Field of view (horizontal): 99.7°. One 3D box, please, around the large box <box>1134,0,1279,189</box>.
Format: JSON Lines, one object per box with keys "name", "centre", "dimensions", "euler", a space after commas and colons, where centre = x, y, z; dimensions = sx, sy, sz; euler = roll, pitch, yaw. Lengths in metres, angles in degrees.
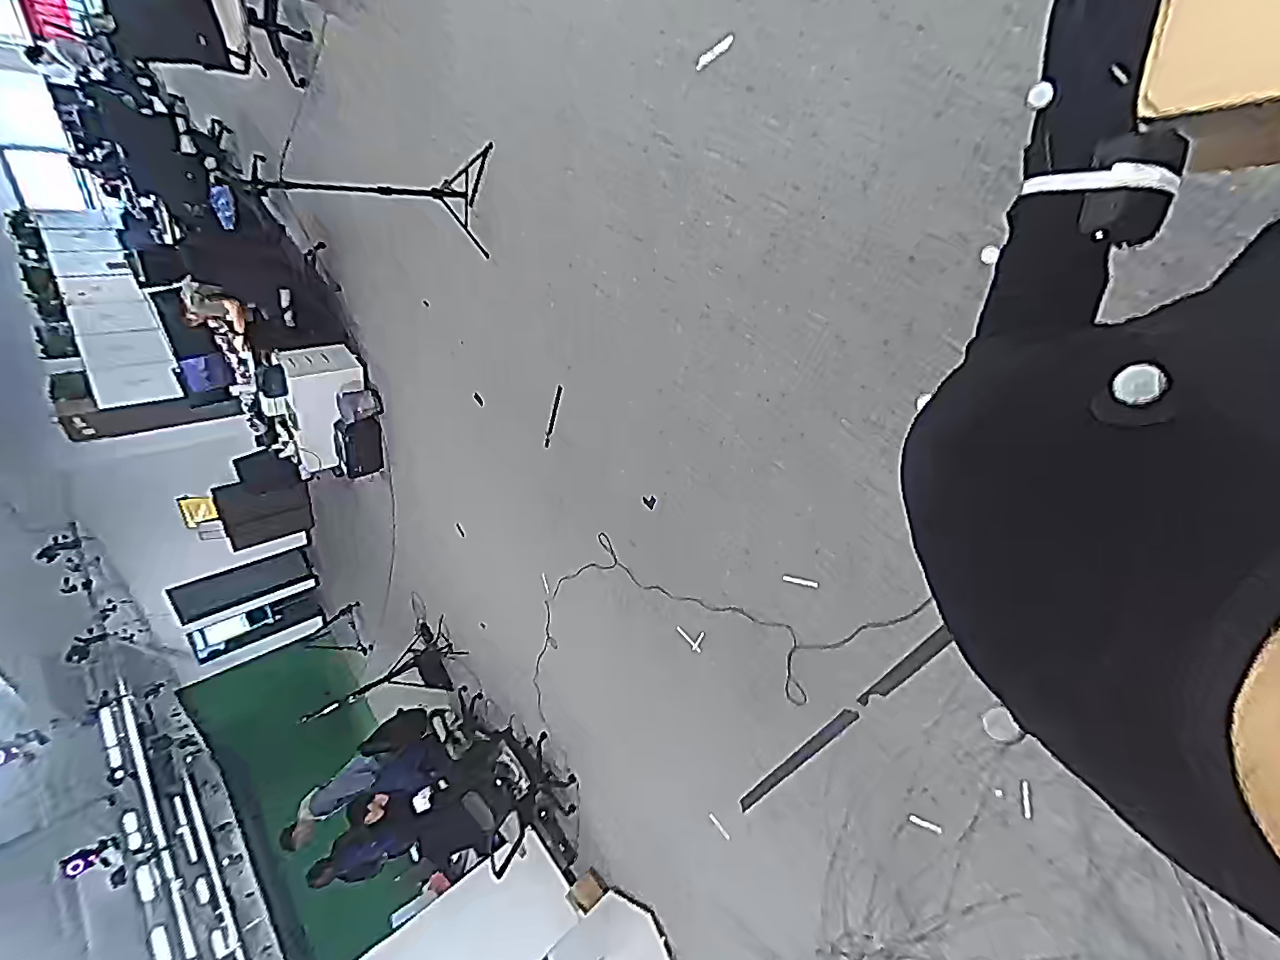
{"name": "large box", "centre": [0.582, -0.371, 0.288], "dimensions": [0.408, 0.320, 0.320], "euler": [19, 118, 44]}
